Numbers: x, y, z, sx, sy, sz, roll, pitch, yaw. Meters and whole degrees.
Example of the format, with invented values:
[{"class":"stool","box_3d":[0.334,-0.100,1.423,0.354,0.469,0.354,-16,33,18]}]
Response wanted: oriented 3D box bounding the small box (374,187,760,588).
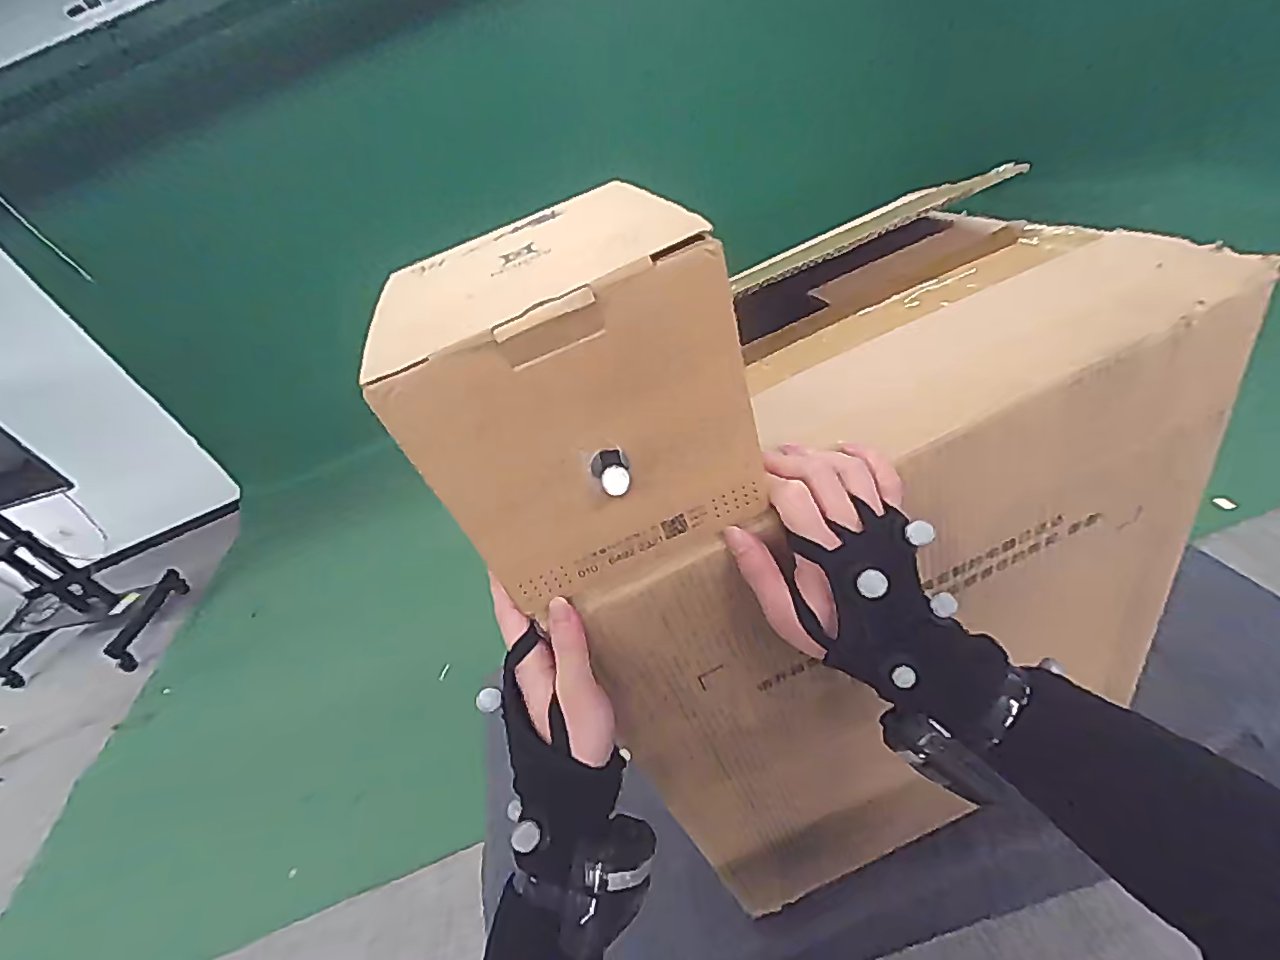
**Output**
[{"class":"small box","box_3d":[-0.039,-0.055,0.345,0.168,0.176,0.179,-23,40,-2]}]
